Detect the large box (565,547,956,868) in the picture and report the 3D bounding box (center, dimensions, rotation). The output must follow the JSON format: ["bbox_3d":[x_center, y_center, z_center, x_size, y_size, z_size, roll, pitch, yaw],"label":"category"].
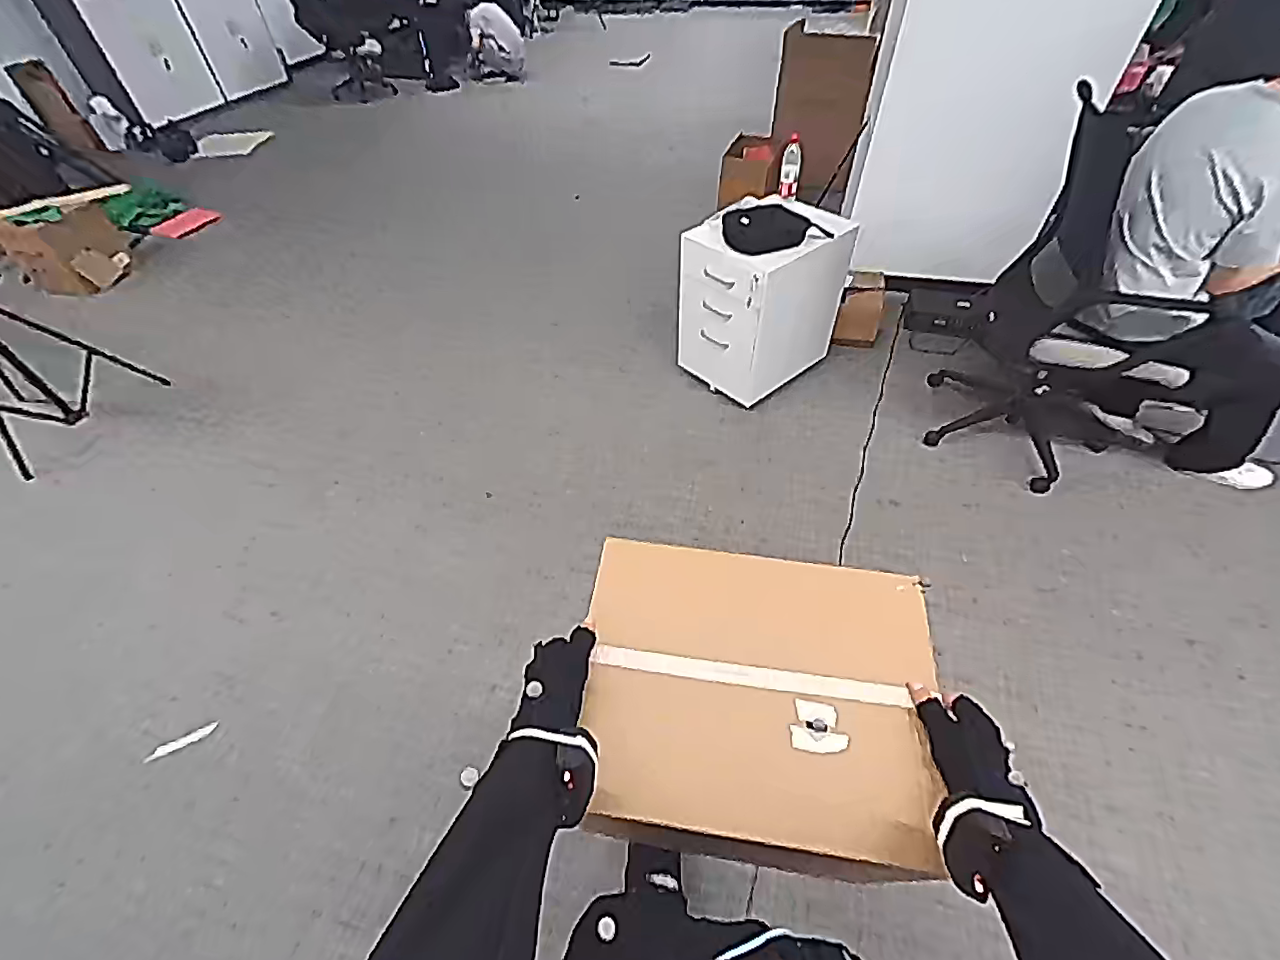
[{"bbox_3d":[0.135,0.320,0.753,0.408,0.320,0.320,7,54,5],"label":"large box"}]
